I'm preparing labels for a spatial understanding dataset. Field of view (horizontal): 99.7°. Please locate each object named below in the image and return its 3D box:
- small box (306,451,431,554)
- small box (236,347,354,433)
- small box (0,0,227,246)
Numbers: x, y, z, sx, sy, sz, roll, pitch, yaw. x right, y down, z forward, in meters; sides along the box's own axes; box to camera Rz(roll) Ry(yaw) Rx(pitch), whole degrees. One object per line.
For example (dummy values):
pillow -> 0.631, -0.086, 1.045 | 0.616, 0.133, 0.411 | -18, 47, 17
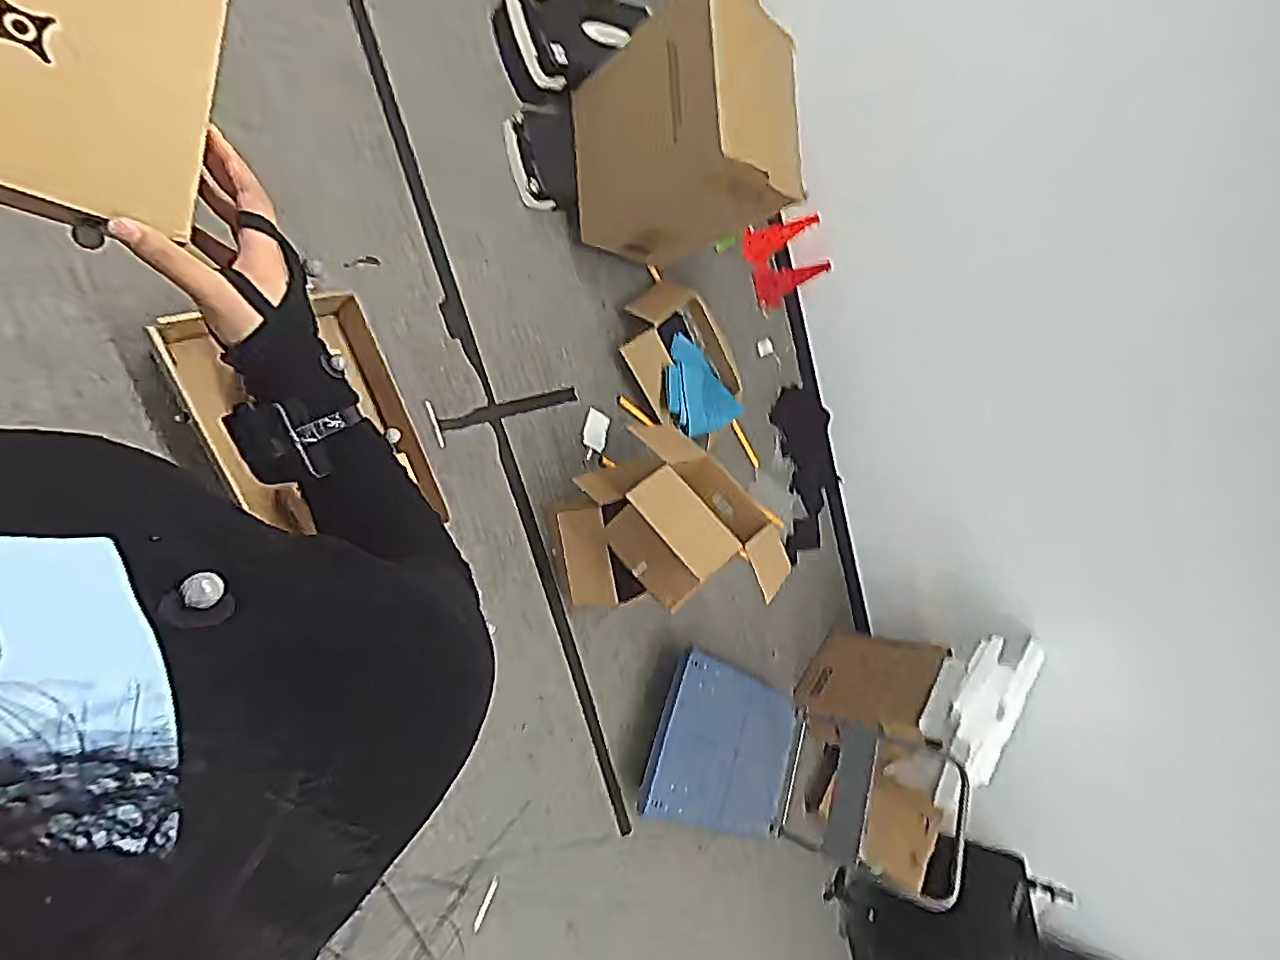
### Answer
small box -> -0.589, 0.050, 1.161 | 0.179, 0.176, 0.168 | -29, 107, -42
small box -> -0.782, -0.204, 1.226 | 0.179, 0.176, 0.168 | -16, 99, -43
small box -> -0.383, -0.257, 0.326 | 0.179, 0.176, 0.168 | 8, 98, -46
